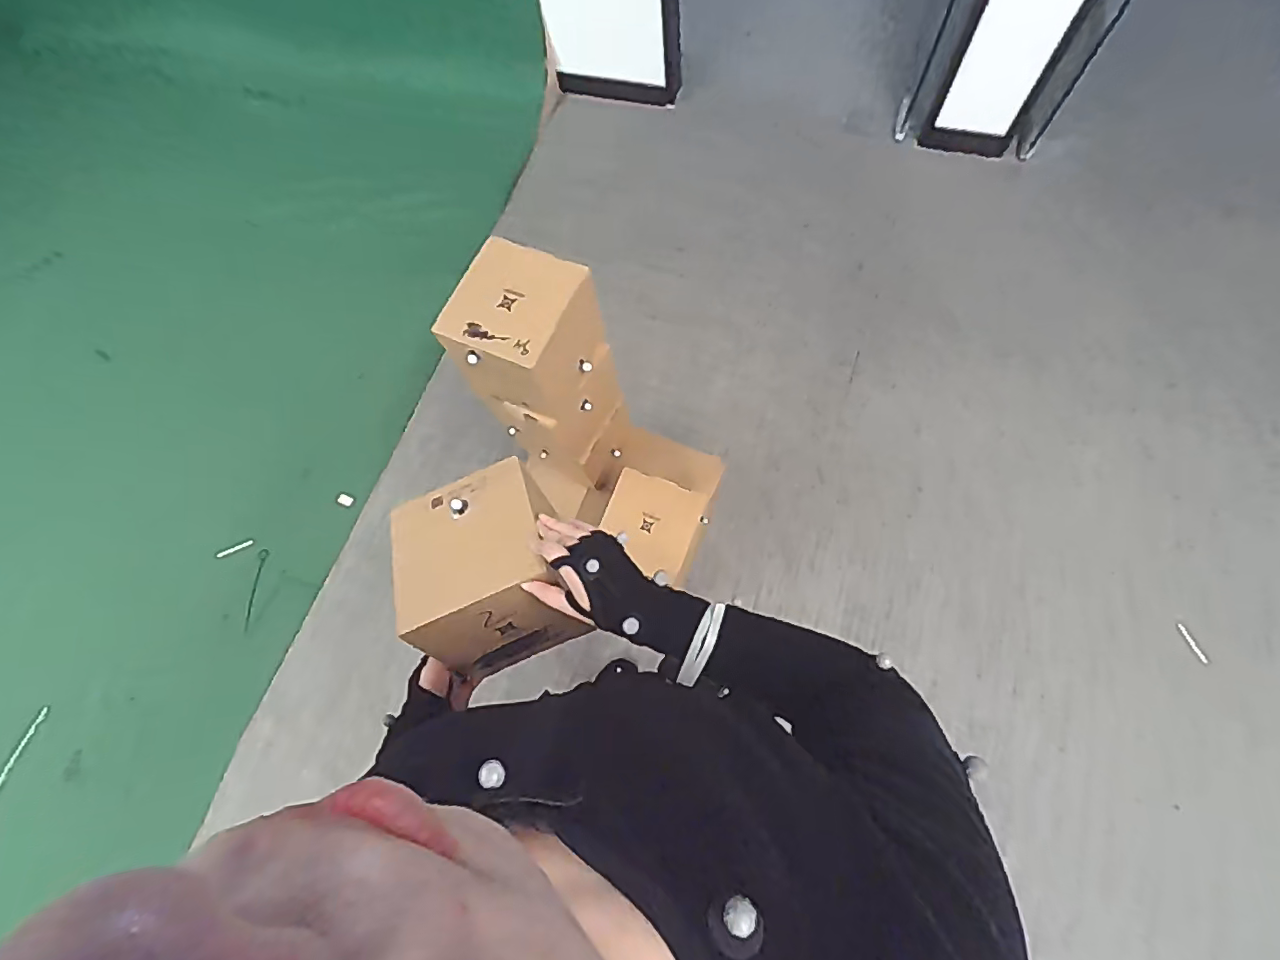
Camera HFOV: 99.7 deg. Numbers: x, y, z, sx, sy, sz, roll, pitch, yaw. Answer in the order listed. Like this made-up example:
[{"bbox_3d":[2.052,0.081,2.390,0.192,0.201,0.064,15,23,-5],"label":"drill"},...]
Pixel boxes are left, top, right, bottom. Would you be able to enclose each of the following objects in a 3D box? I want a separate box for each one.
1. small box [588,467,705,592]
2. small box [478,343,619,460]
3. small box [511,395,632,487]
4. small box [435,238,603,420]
[{"bbox_3d":[0.022,0.103,1.043,0.168,0.176,0.179,20,75,12],"label":"small box"},{"bbox_3d":[-0.152,-0.162,0.976,0.168,0.176,0.179,30,76,14],"label":"small box"},{"bbox_3d":[-0.134,-0.106,1.130,0.179,0.176,0.168,28,77,13],"label":"small box"},{"bbox_3d":[-0.168,-0.223,0.823,0.168,0.176,0.179,23,74,13],"label":"small box"}]
